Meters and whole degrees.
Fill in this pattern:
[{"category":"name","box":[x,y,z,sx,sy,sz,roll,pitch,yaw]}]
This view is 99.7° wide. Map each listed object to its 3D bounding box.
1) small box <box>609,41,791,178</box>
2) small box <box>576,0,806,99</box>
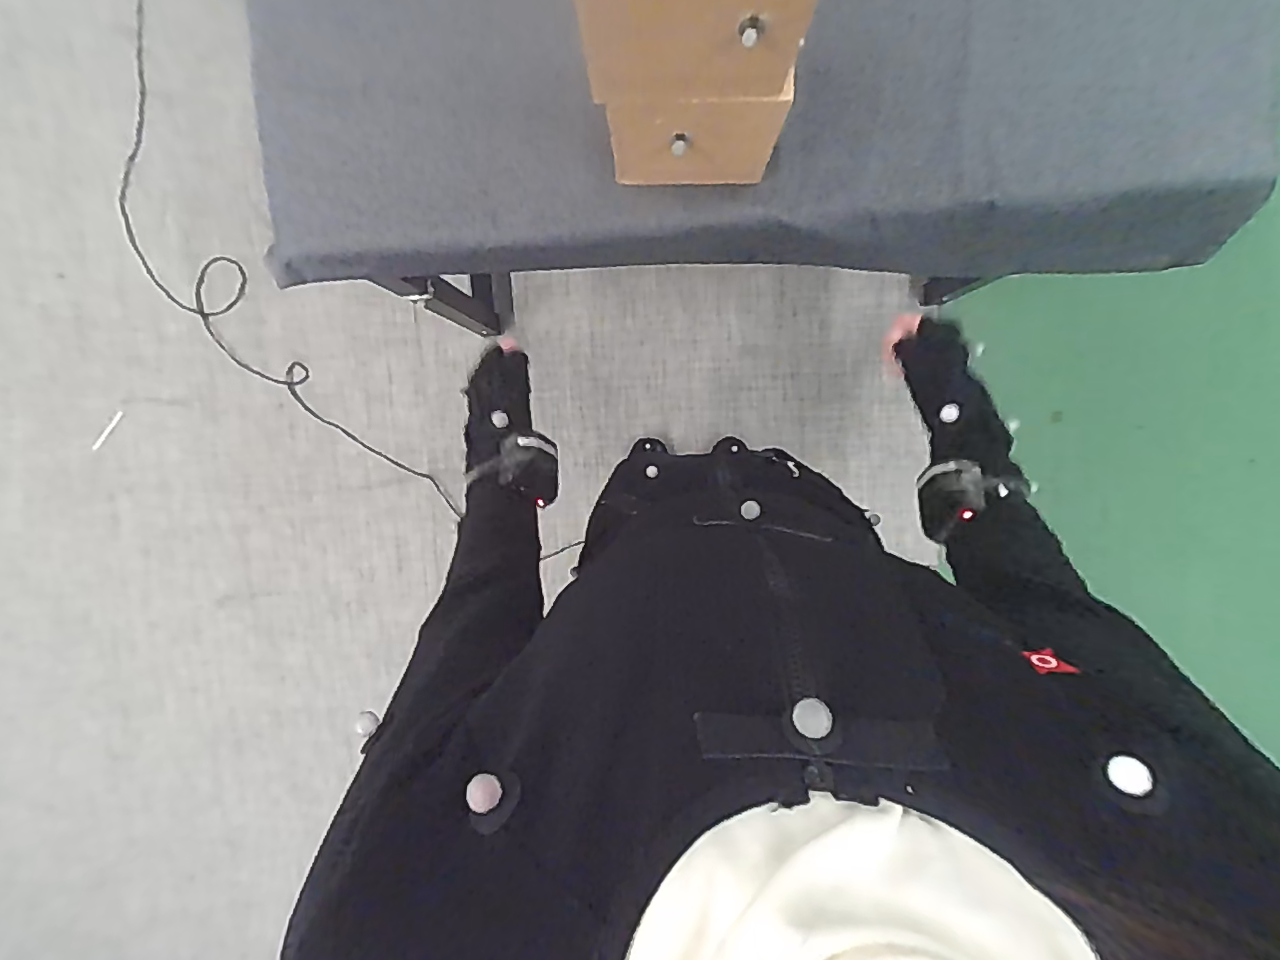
[{"category":"small box","box":[0.057,-0.445,0.580,0.179,0.176,0.168,1,95,2]},{"category":"small box","box":[0.040,-0.432,0.419,0.179,0.176,0.168,-1,93,3]}]
